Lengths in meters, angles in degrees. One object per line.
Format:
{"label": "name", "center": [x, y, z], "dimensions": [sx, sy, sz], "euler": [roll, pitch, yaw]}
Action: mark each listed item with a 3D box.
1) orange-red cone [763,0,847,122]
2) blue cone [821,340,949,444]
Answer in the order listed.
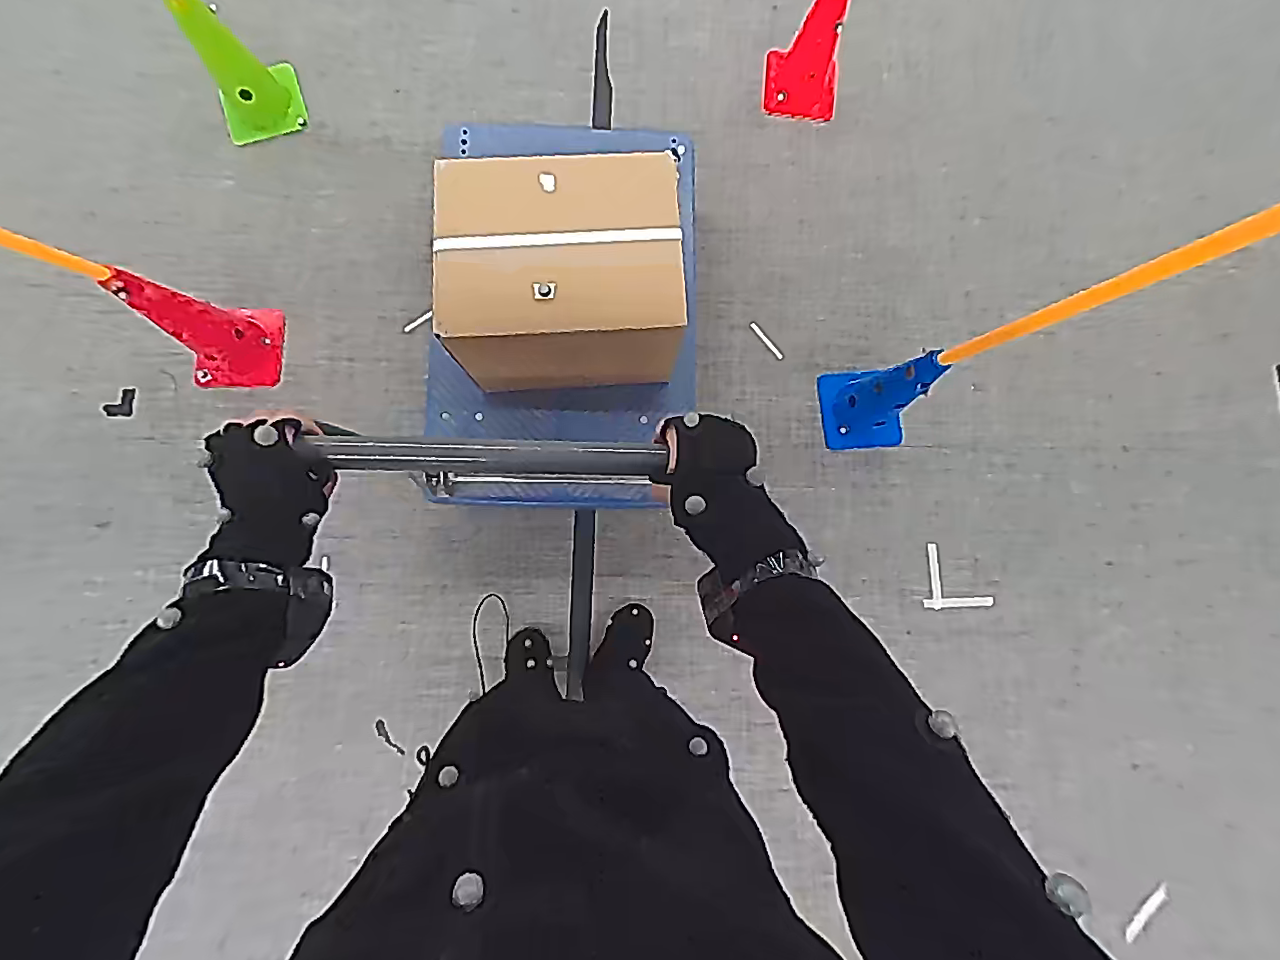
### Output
{"label": "orange-red cone", "center": [0.451, -1.108, 1.319], "dimensions": [0.199, 0.360, 0.198], "euler": [8, 82, -2]}
{"label": "blue cone", "center": [0.568, -0.211, 1.212], "dimensions": [0.193, 0.380, 0.192], "euler": [-3, 81, -3]}
